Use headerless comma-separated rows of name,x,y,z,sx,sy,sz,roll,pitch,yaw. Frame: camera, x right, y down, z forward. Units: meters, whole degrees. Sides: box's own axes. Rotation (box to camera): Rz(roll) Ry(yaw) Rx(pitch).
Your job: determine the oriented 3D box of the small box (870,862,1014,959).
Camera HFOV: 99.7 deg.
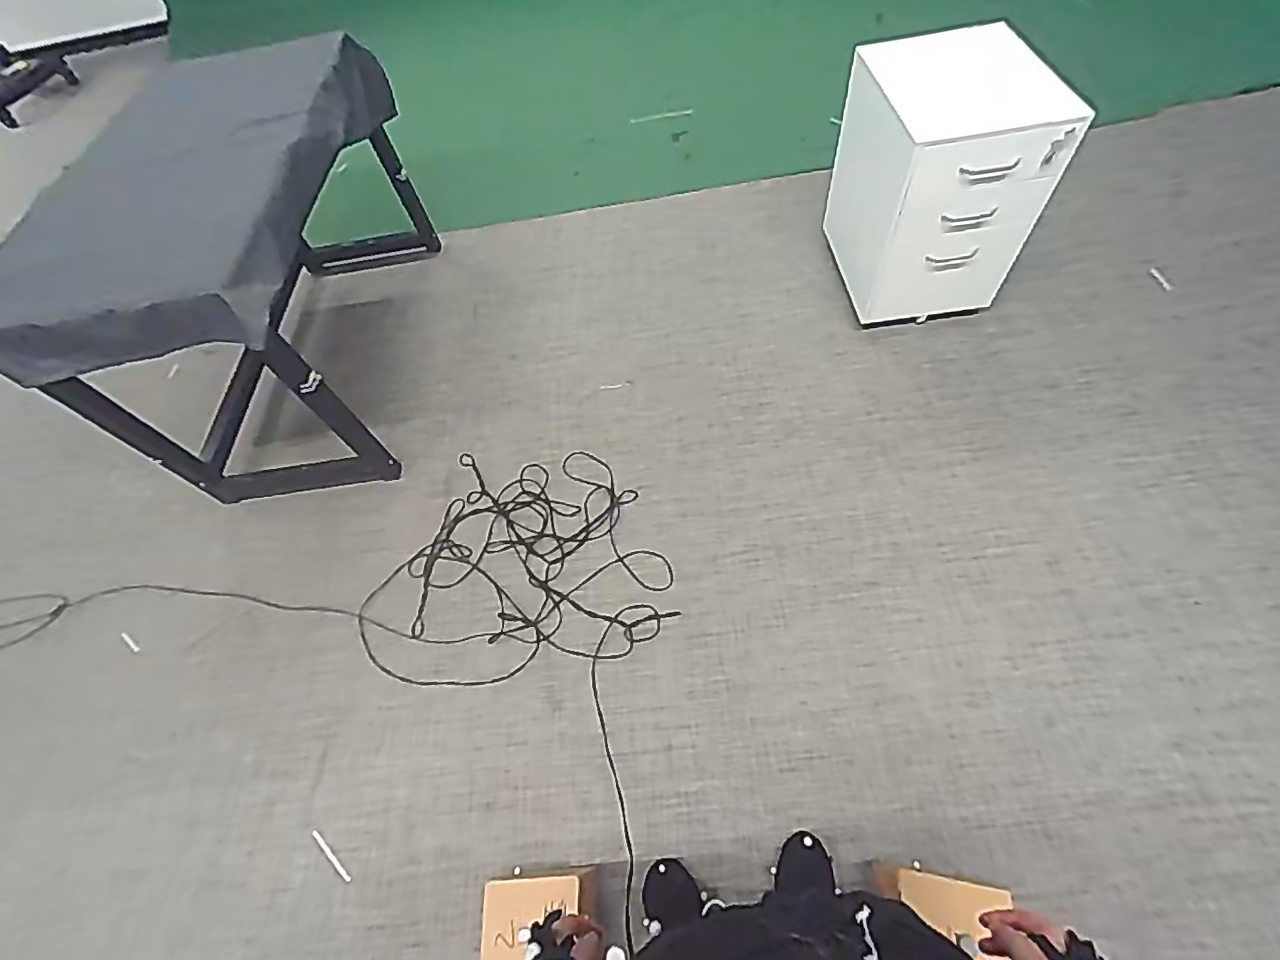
small box,0.512,0.779,0.933,0.179,0.176,0.168,4,60,11
